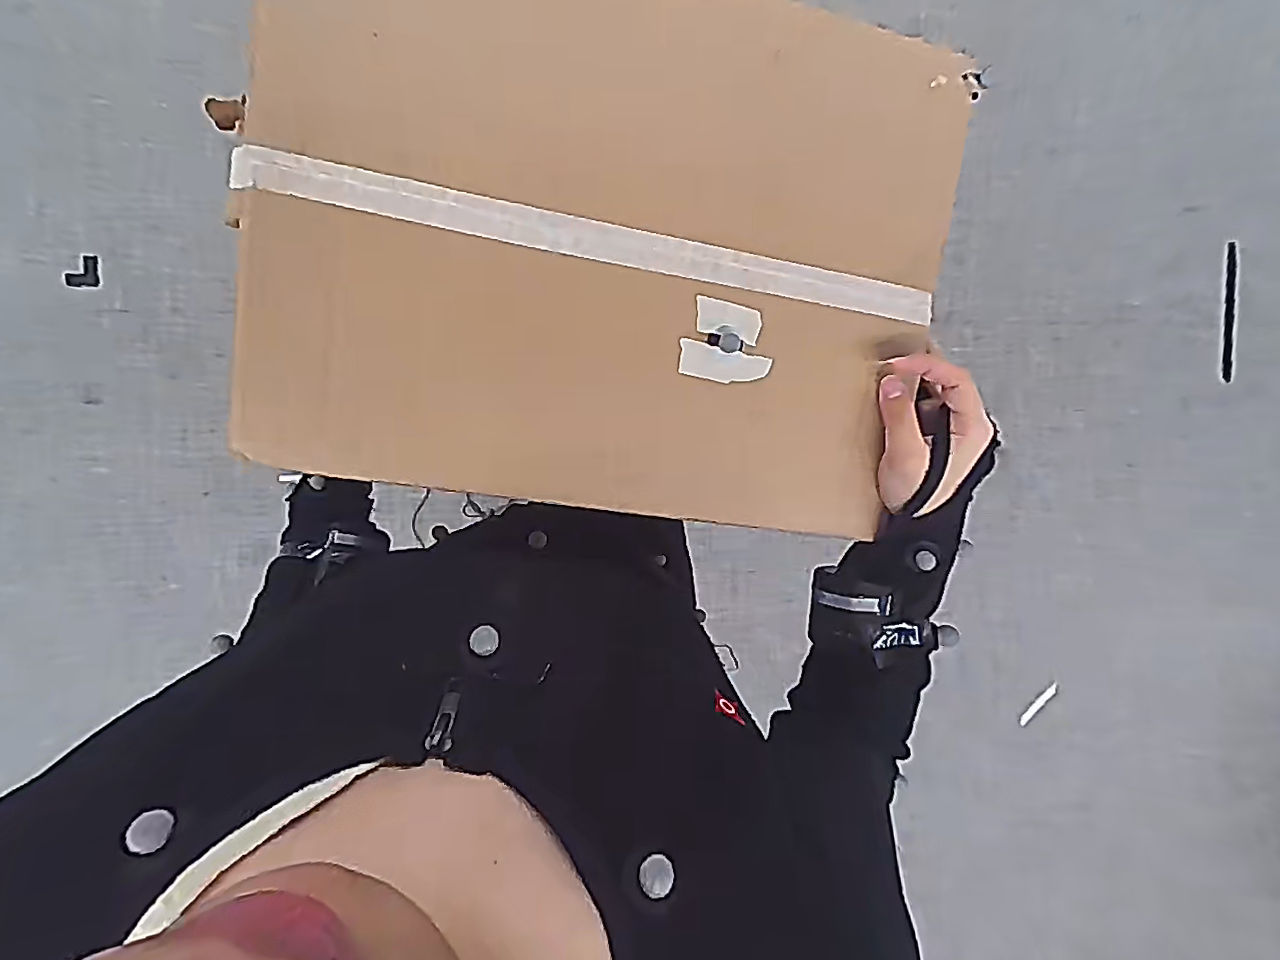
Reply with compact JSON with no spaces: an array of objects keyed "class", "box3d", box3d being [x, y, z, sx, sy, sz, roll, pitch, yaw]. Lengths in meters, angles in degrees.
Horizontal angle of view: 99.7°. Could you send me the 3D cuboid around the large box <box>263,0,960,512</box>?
[{"class":"large box","box3d":[-0.031,-0.167,0.473,0.408,0.320,0.320,7,97,-12]}]
